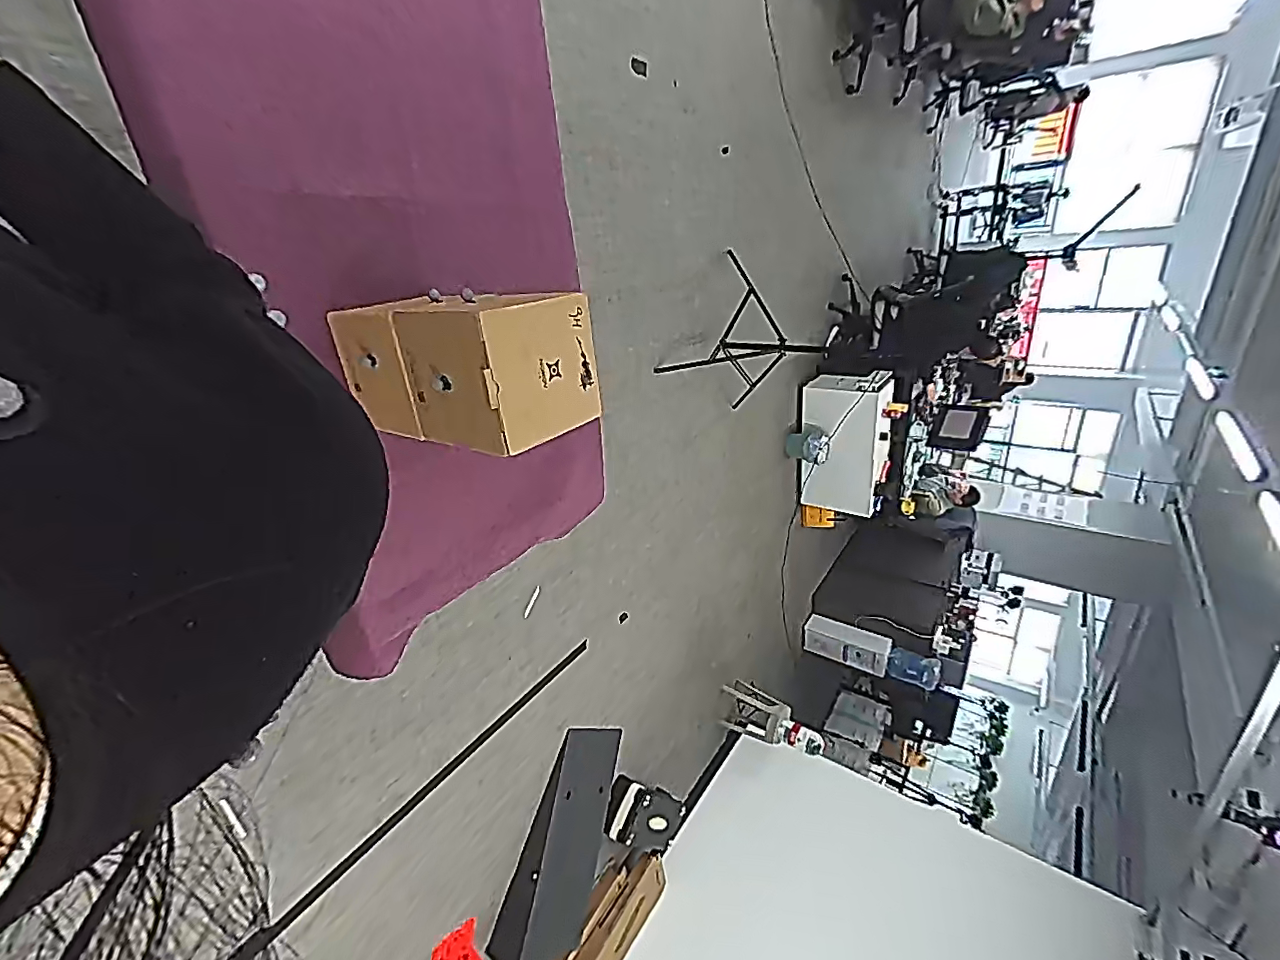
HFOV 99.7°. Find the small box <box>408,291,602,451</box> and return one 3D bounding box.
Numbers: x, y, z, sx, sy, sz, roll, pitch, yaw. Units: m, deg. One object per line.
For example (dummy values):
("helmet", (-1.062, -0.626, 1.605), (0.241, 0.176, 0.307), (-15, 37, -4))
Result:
("small box", (-0.176, -0.148, 0.703), (0.179, 0.176, 0.168), (-32, 125, -46))

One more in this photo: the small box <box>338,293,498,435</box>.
("small box", (-0.311, -0.175, 0.793), (0.179, 0.176, 0.168), (-33, 126, -46))
